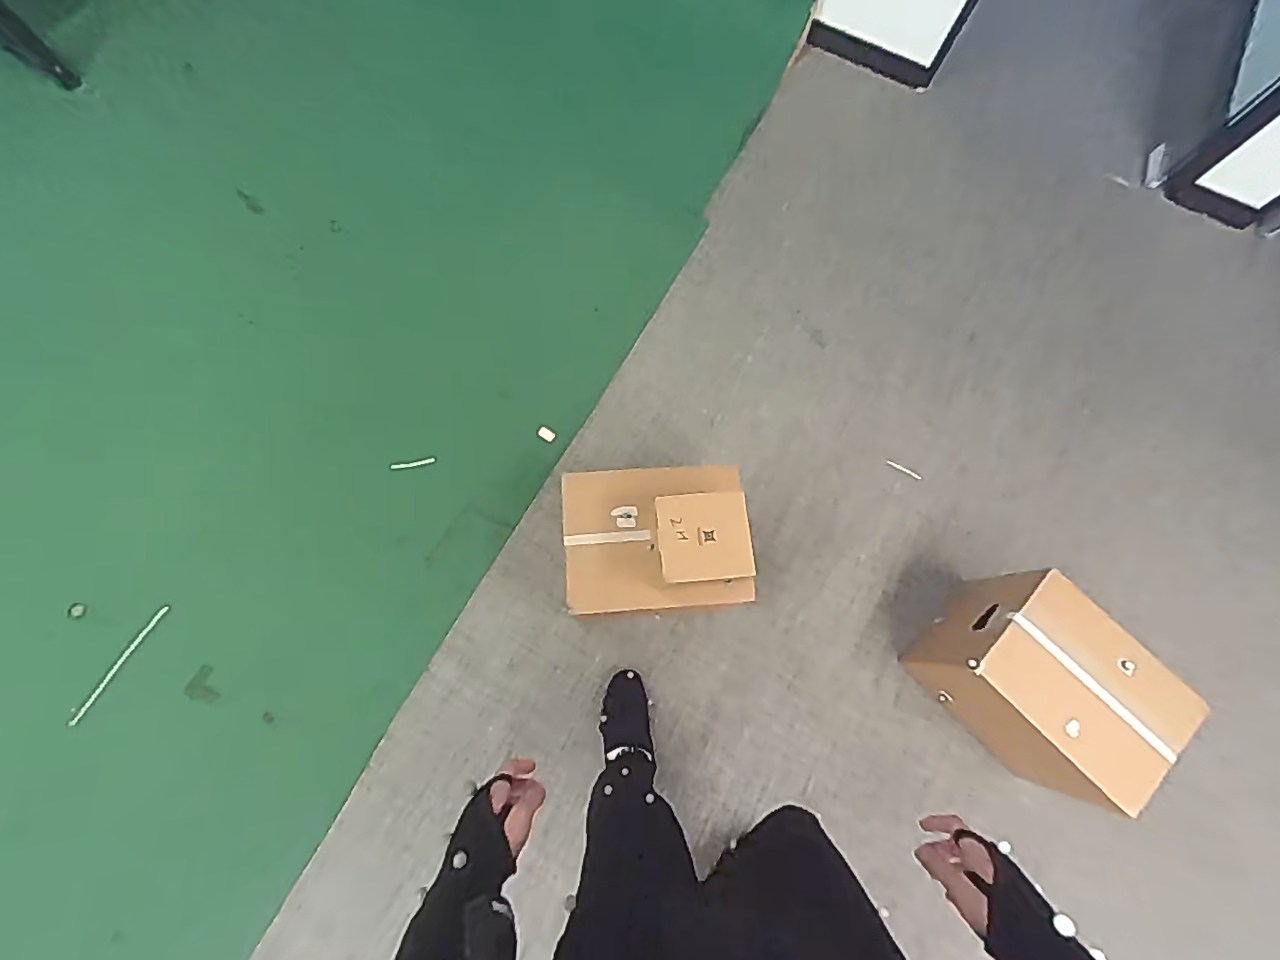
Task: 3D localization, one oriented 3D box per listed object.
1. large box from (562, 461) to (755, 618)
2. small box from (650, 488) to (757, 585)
[{"bbox_3d":[0.032,0.160,1.321,0.408,0.320,0.320,-4,73,-3],"label":"large box"},{"bbox_3d":[0.119,0.118,1.079,0.179,0.176,0.168,-4,75,-4],"label":"small box"}]
